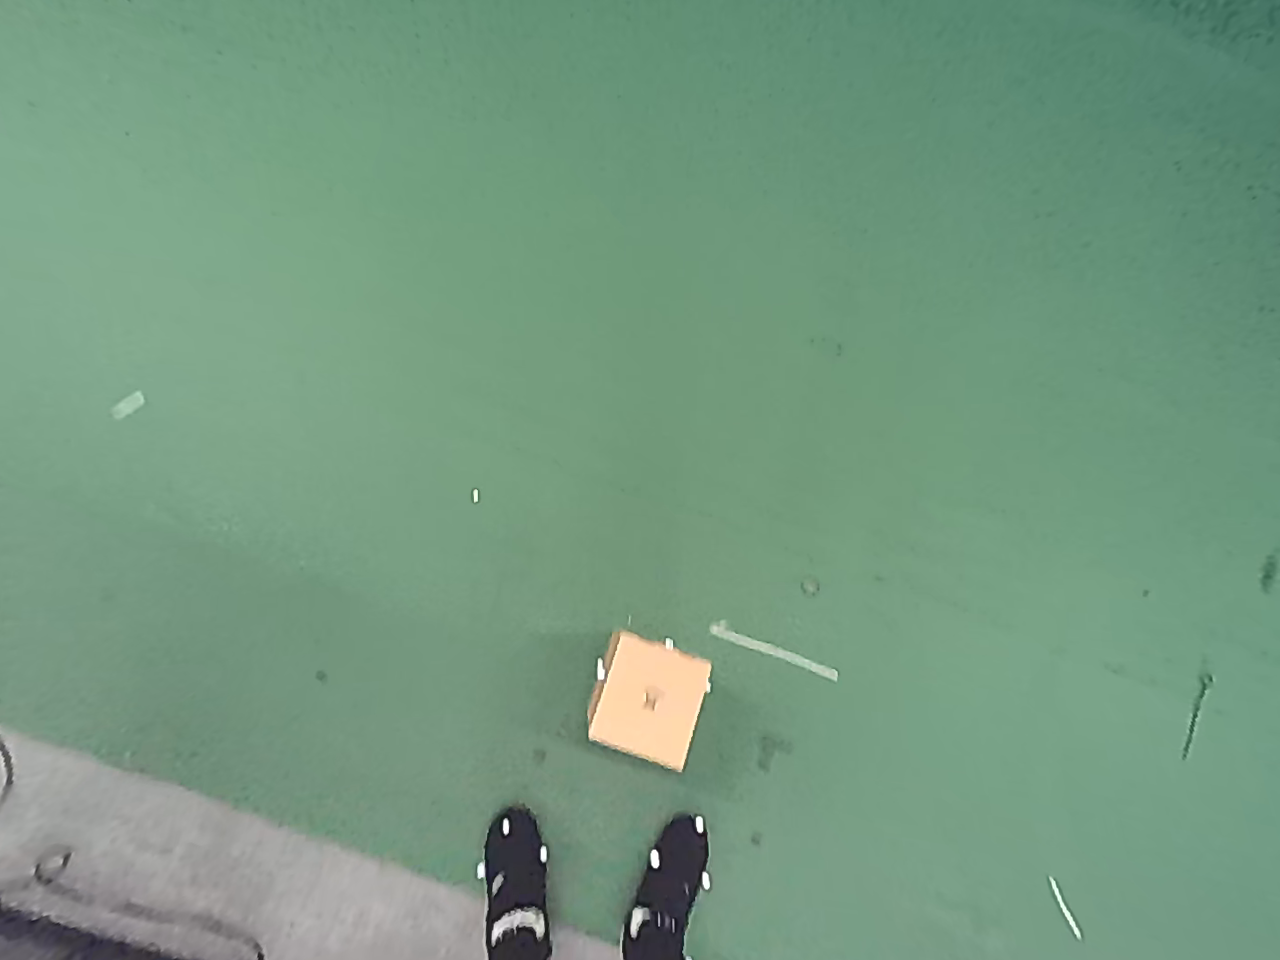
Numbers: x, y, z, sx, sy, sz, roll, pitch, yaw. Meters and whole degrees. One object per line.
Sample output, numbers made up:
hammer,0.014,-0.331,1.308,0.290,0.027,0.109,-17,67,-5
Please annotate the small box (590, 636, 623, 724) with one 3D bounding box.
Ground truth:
small box,-0.001,0.436,1.134,0.168,0.176,0.179,19,75,1

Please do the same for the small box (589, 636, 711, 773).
small box,0.015,0.395,0.979,0.168,0.176,0.179,19,73,1
